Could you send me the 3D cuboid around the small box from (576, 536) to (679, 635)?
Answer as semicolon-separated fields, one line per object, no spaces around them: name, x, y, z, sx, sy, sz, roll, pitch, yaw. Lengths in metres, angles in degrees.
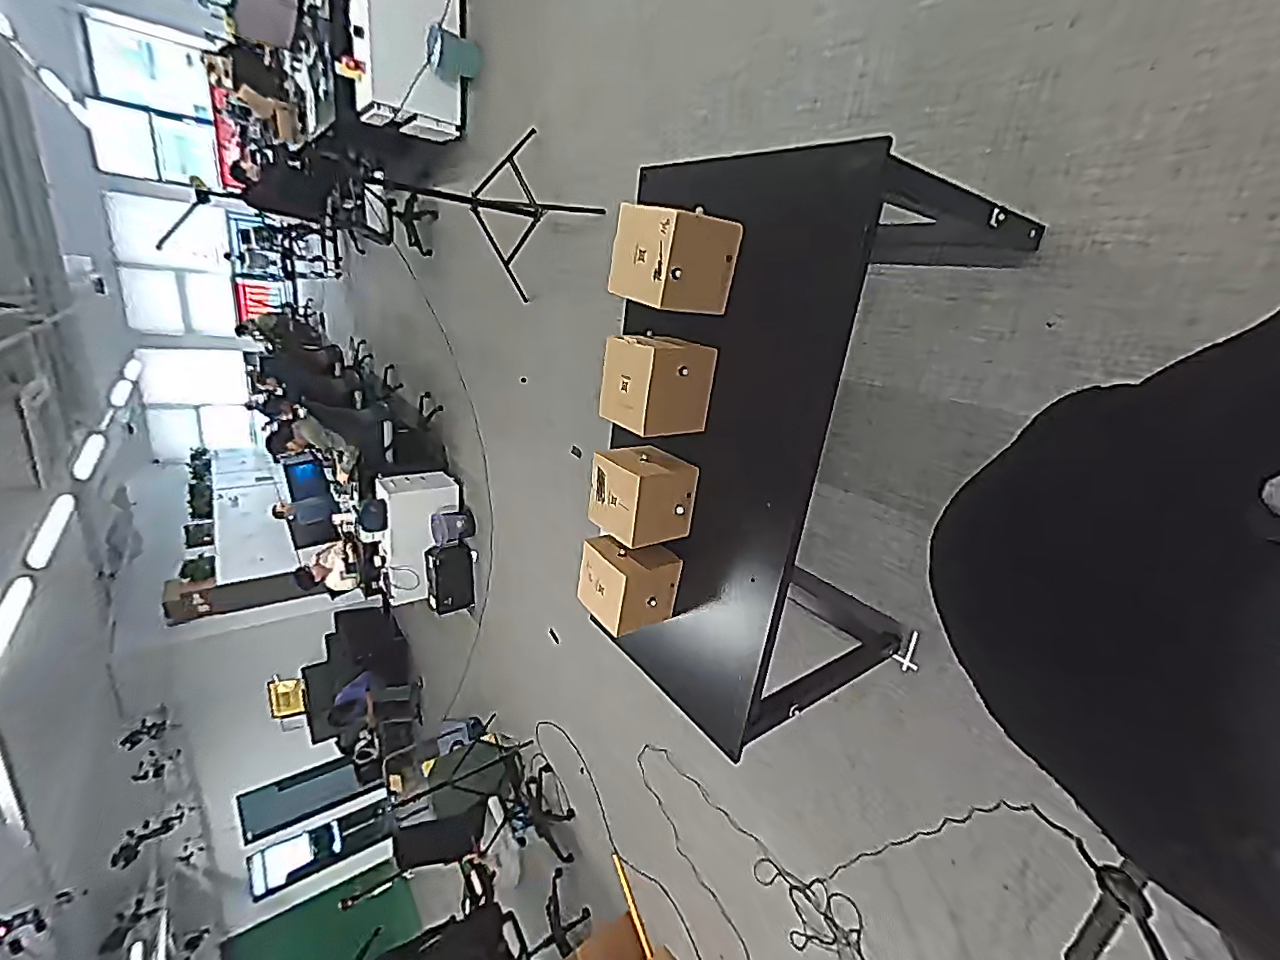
small box;-0.030;0.235;1.292;0.179;0.176;0.168;34;121;45

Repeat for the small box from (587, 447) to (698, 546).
small box;0.002;0.028;1.212;0.179;0.176;0.168;29;119;46

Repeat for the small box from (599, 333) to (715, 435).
small box;0.035;-0.204;1.129;0.168;0.176;0.179;31;121;48

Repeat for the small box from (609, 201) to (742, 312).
small box;0.065;-0.428;1.044;0.179;0.176;0.168;38;125;45
